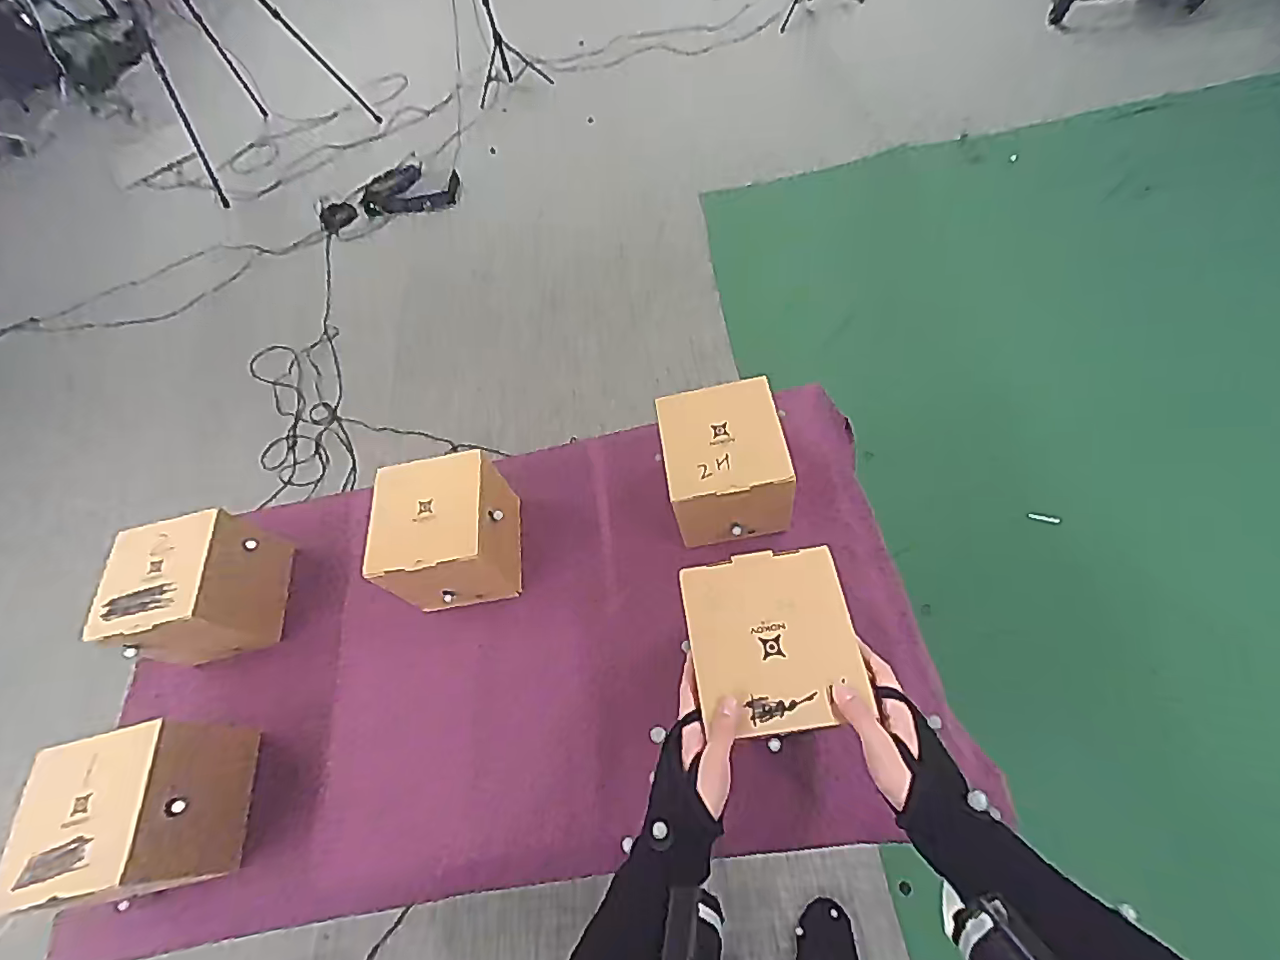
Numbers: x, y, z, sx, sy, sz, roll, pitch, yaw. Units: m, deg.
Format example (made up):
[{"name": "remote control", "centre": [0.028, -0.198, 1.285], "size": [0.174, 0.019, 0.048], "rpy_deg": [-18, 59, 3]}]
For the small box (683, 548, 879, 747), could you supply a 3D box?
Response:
[{"name": "small box", "centre": [0.145, 0.198, 0.618], "size": [0.168, 0.176, 0.179], "rpy_deg": [-10, 62, 5]}]

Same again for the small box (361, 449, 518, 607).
[{"name": "small box", "centre": [-0.292, 0.079, 0.827], "size": [0.168, 0.176, 0.179], "rpy_deg": [-10, 61, 4]}]

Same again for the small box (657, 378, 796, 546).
[{"name": "small box", "centre": [0.125, -0.021, 0.806], "size": [0.168, 0.176, 0.179], "rpy_deg": [-11, 61, 7]}]

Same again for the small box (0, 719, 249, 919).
[{"name": "small box", "centre": [-0.645, 0.423, 0.689], "size": [0.168, 0.176, 0.179], "rpy_deg": [-14, 58, 1]}]
